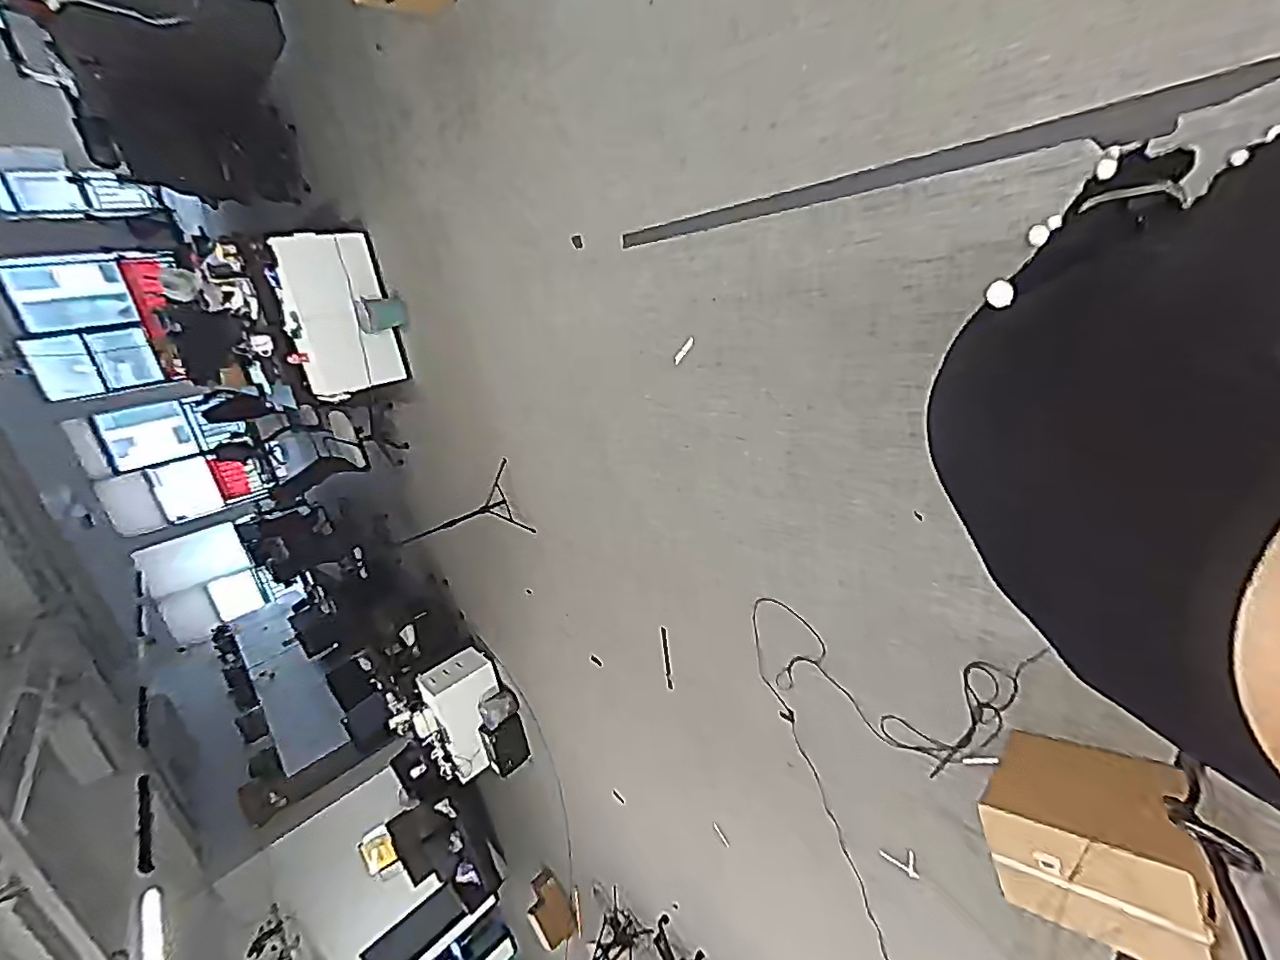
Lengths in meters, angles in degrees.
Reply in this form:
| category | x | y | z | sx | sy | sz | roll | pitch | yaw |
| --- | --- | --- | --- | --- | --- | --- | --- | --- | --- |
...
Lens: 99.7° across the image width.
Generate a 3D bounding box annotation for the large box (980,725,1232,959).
| category | x | y | z | sx | sy | sz | roll | pitch | yaw |
| --- | --- | --- | --- | --- | --- | --- | --- | --- | --- |
| large box | 1.166 | 0.886 | 1.366 | 0.408 | 0.320 | 0.320 | -9 | 103 | 52 |
